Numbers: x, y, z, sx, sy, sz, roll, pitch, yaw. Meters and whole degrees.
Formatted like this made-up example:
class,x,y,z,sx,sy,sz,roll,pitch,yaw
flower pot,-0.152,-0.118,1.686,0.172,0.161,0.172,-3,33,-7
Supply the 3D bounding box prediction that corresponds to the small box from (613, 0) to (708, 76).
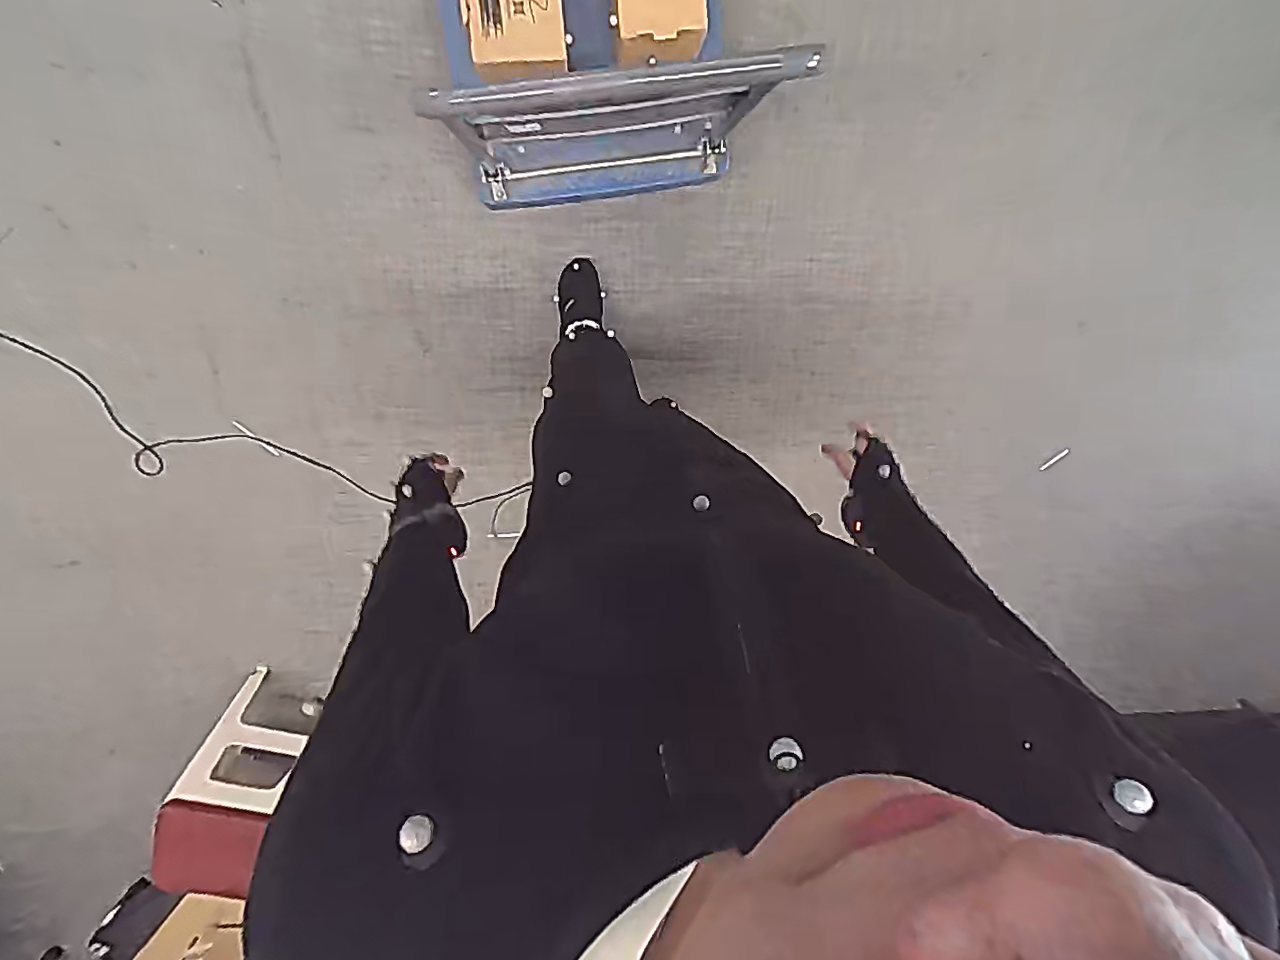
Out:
class,x,y,z,sx,sy,sz,roll,pitch,yaw
small box,0.035,-0.946,1.078,0.168,0.176,0.179,-7,109,-2
